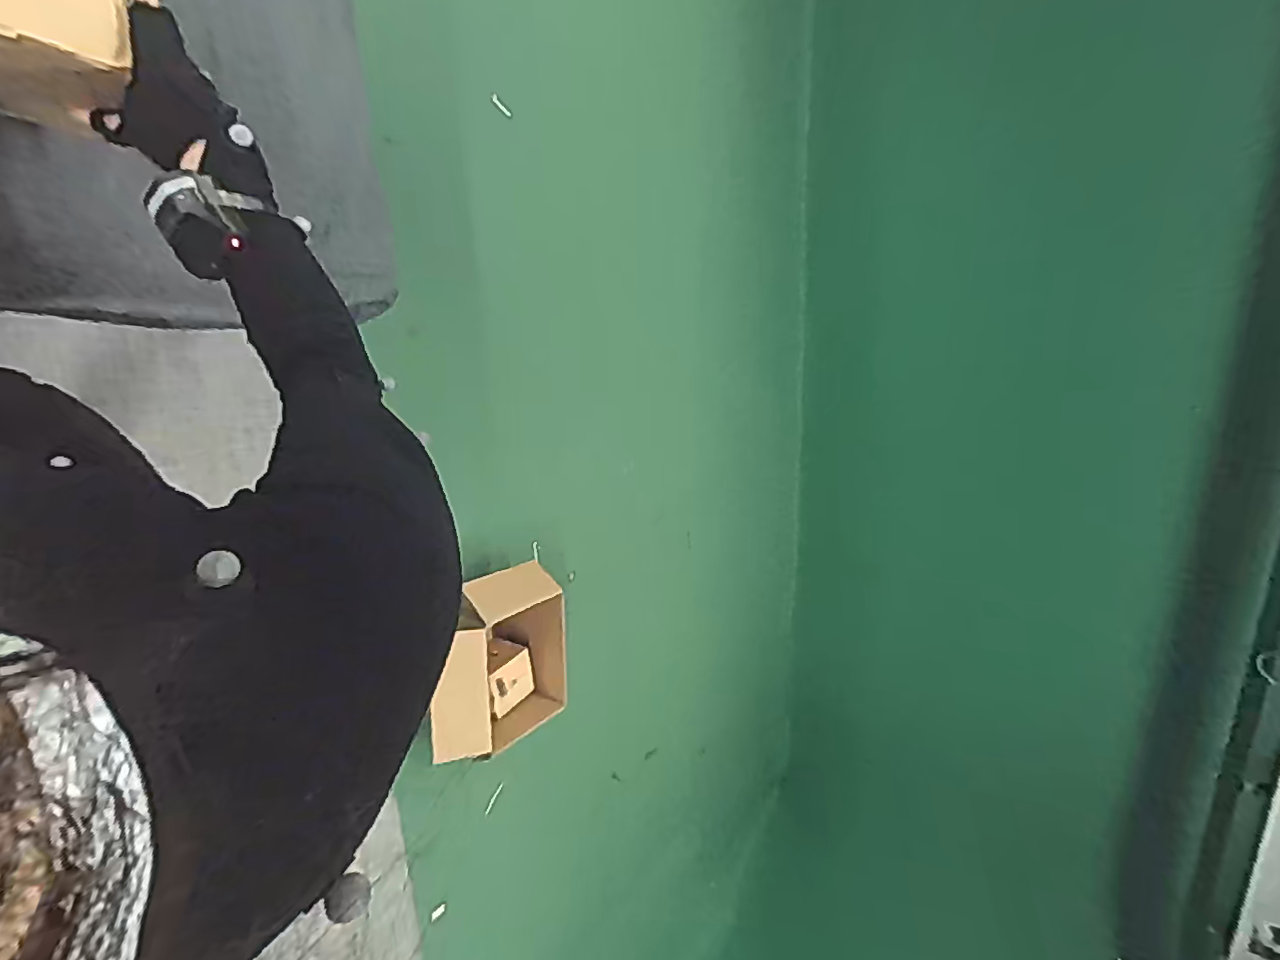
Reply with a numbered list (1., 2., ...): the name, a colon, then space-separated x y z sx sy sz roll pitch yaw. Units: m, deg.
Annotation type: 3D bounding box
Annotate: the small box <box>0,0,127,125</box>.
1. small box: -0.511 -0.403 0.393 0.168 0.176 0.179 -11 104 -51
